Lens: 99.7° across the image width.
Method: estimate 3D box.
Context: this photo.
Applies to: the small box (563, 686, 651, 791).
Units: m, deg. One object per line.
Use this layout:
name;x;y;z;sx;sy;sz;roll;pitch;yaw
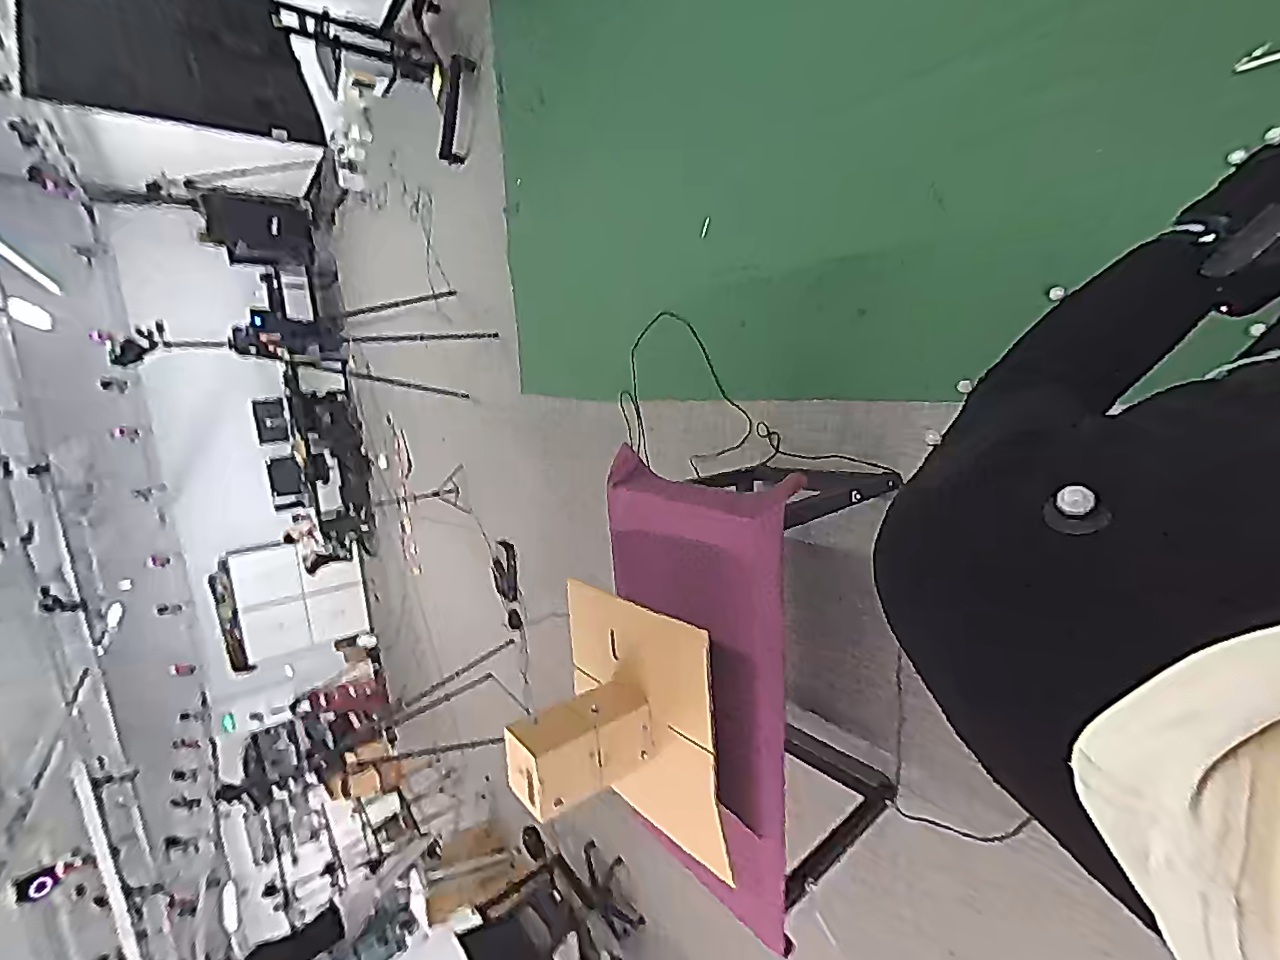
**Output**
small box;-0.082;0.674;1.436;0.179;0.176;0.168;5;101;52
